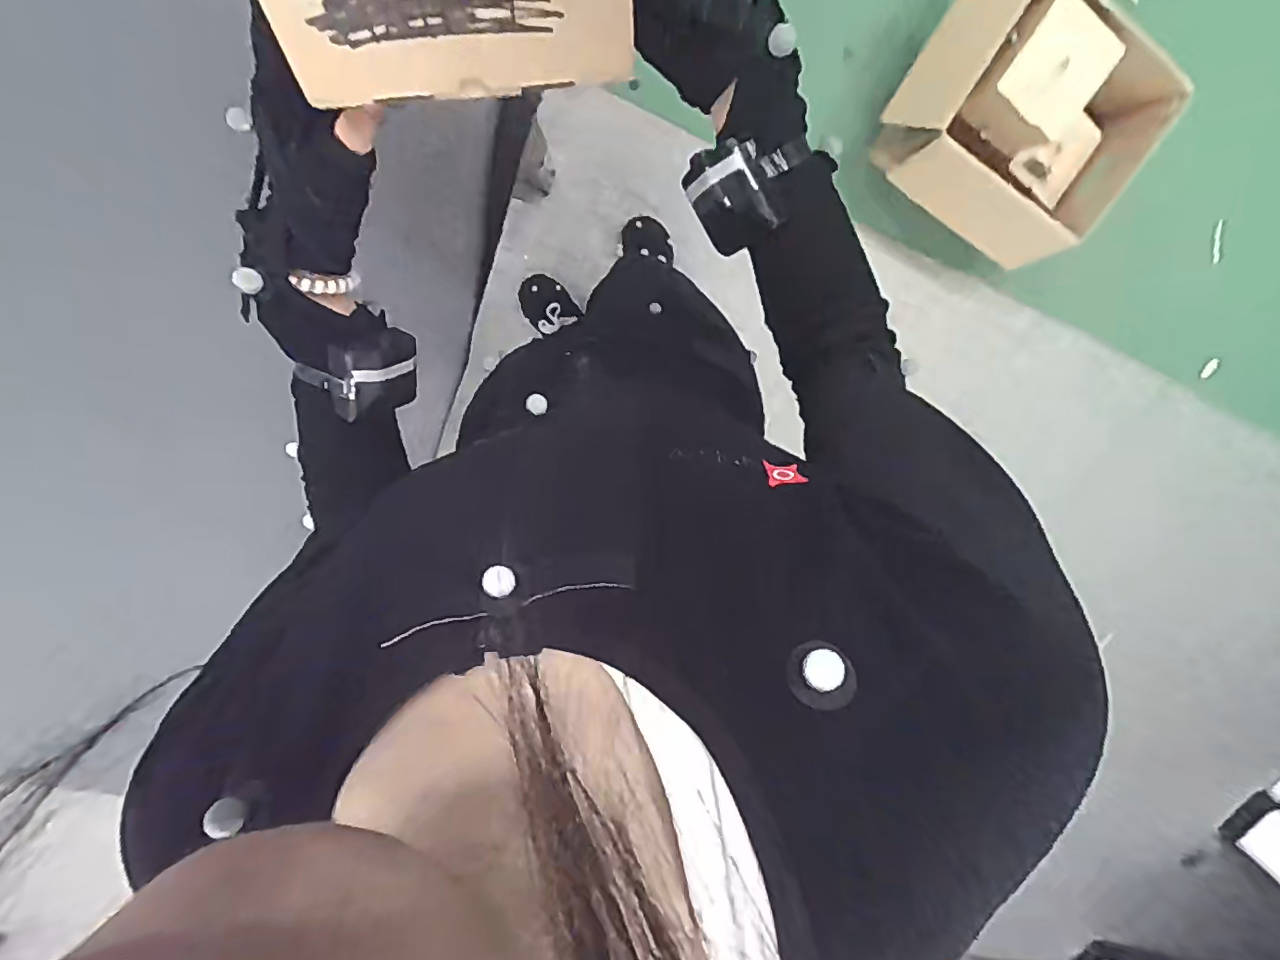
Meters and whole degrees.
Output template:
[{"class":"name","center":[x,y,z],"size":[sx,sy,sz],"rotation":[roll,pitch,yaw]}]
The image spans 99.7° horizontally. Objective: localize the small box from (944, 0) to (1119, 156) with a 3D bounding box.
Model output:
[{"class":"small box","center":[0.737,-0.765,1.040],"size":[0.168,0.176,0.179],"rotation":[28,107,-15]}]
